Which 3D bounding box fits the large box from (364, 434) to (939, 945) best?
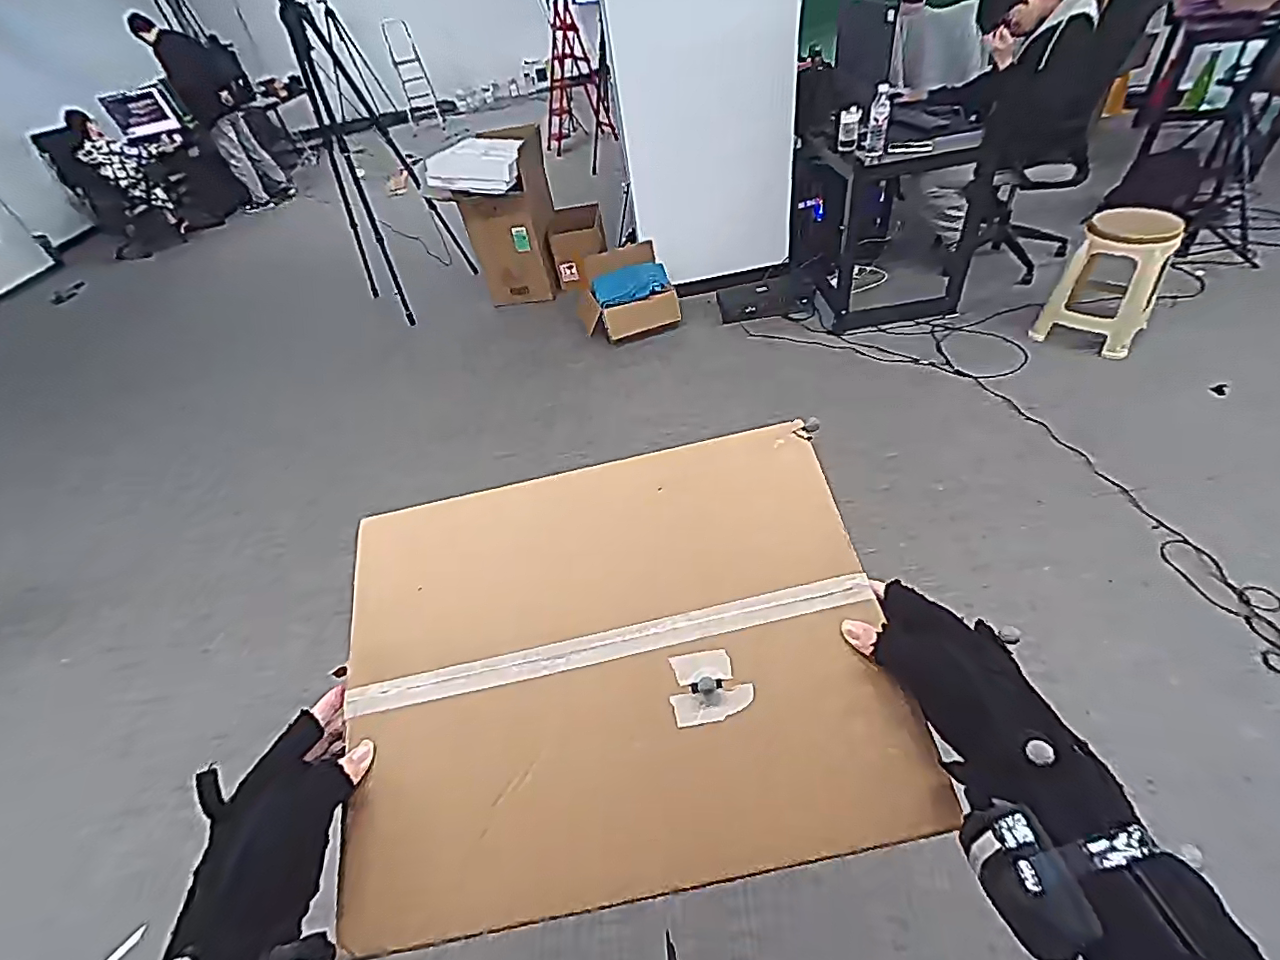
[{"bbox_3d":[-0.006,0.202,0.559,0.408,0.320,0.320,-13,62,0],"label":"large box"}]
